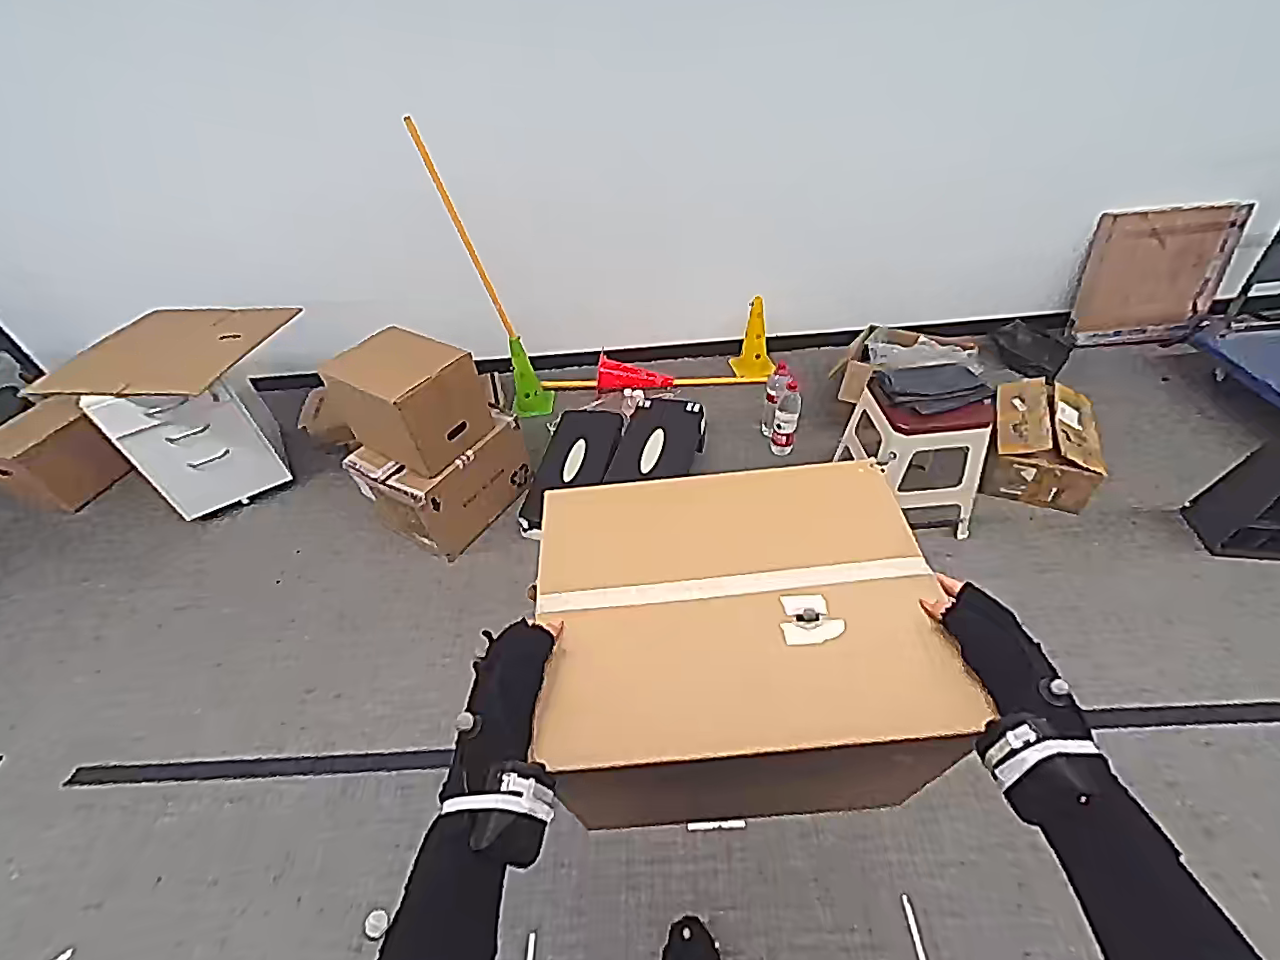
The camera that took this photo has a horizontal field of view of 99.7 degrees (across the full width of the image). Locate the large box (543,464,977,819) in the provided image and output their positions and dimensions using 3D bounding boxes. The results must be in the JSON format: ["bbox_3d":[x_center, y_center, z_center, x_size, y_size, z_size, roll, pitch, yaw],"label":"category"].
[{"bbox_3d":[0.105,0.212,0.691,0.408,0.320,0.320,-6,50,1],"label":"large box"}]
